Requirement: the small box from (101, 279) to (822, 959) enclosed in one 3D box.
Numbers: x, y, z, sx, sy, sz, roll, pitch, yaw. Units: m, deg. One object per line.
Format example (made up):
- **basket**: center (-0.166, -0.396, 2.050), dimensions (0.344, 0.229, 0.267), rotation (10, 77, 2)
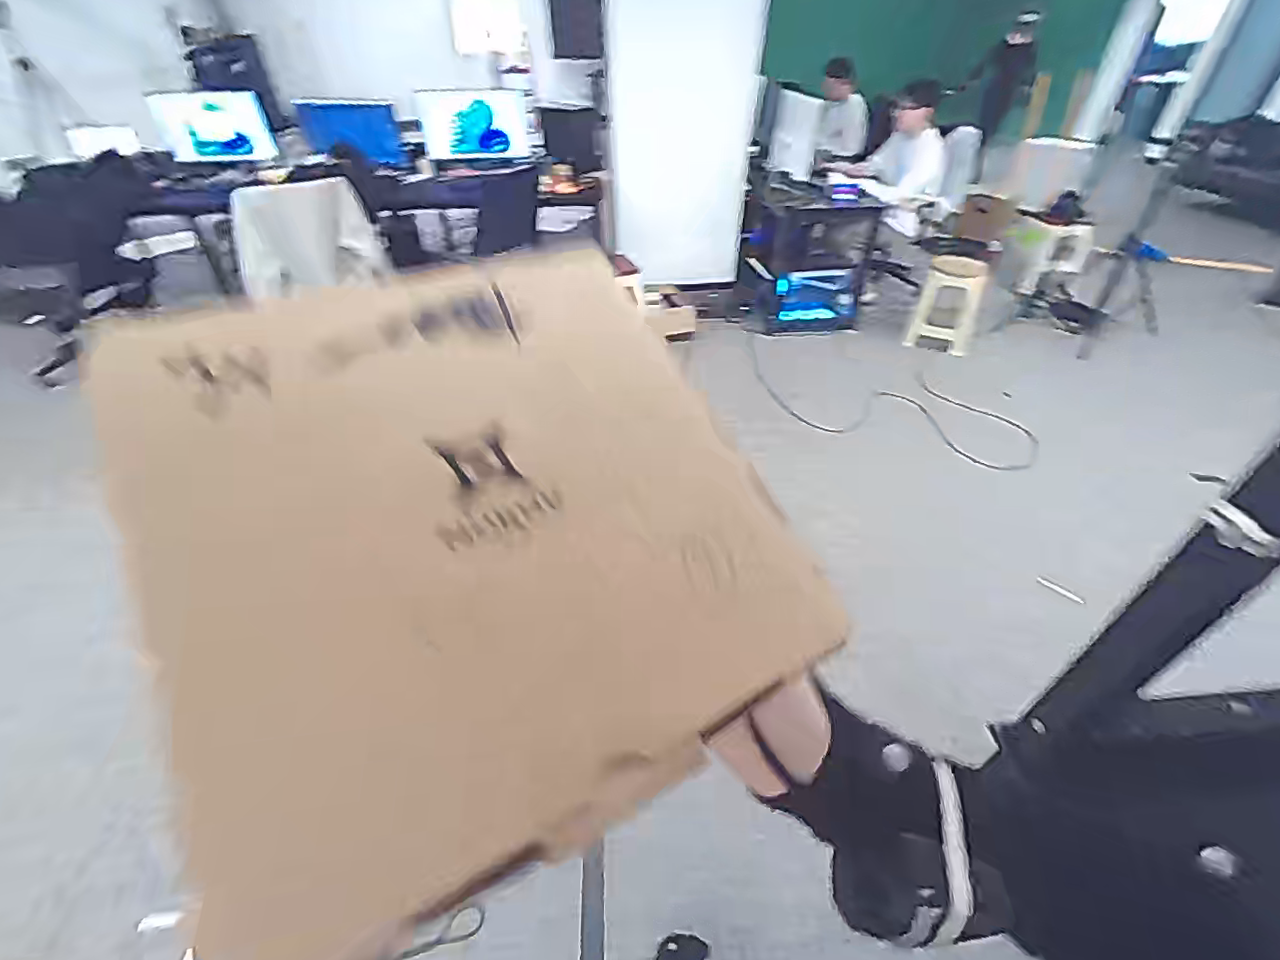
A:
- **small box**: center (-0.069, 0.049, 0.232), dimensions (0.168, 0.176, 0.179), rotation (-21, 70, -30)
